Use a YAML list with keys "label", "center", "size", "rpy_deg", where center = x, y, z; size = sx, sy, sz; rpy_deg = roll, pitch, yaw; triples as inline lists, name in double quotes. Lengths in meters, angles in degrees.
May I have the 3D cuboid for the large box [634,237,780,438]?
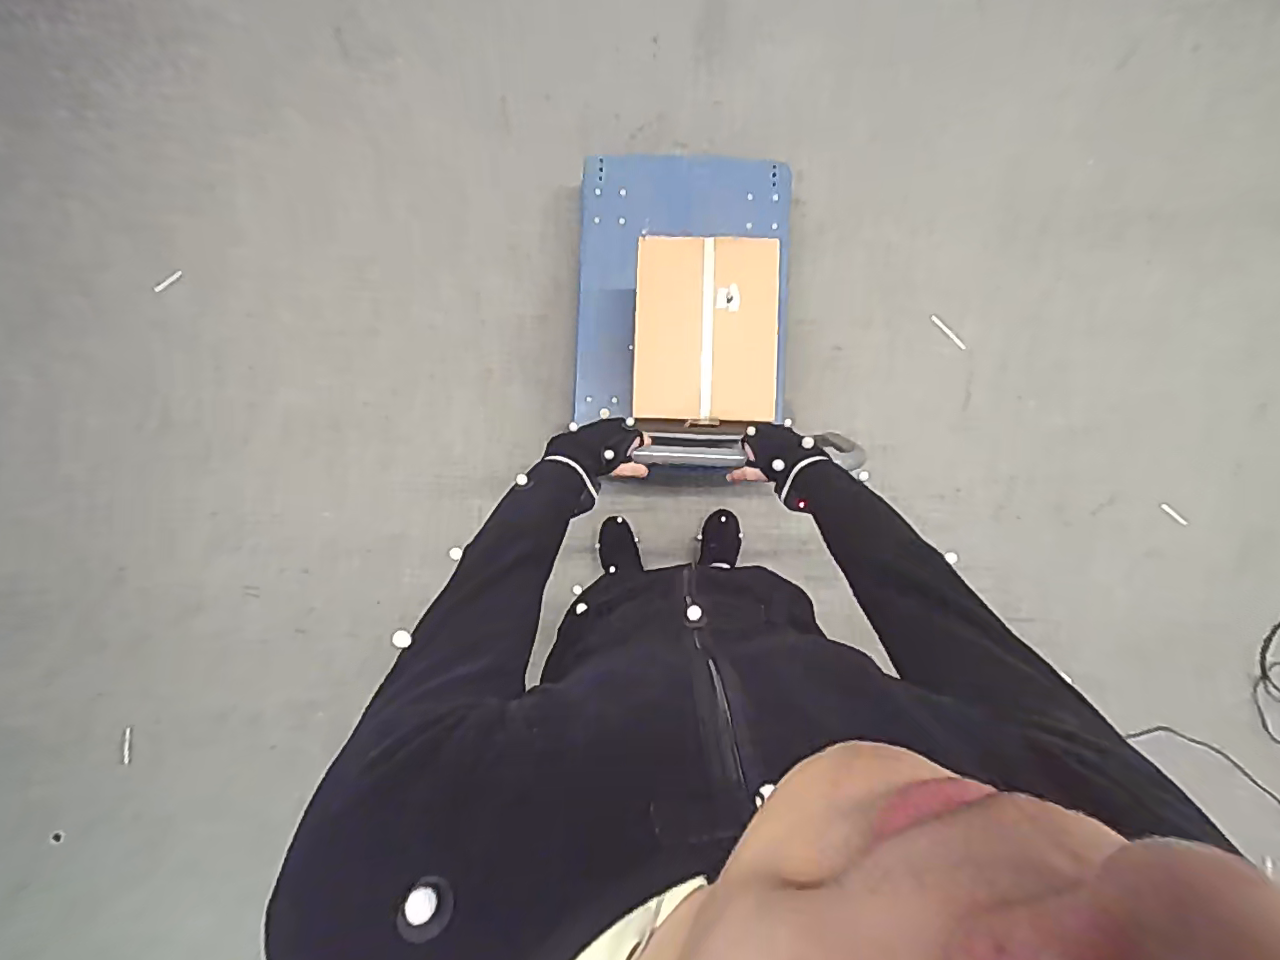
- label: "large box"
  center: [0.148, -0.318, 1.313]
  size: [0.320, 0.320, 0.408]
  rpy_deg: [2, 87, 0]
